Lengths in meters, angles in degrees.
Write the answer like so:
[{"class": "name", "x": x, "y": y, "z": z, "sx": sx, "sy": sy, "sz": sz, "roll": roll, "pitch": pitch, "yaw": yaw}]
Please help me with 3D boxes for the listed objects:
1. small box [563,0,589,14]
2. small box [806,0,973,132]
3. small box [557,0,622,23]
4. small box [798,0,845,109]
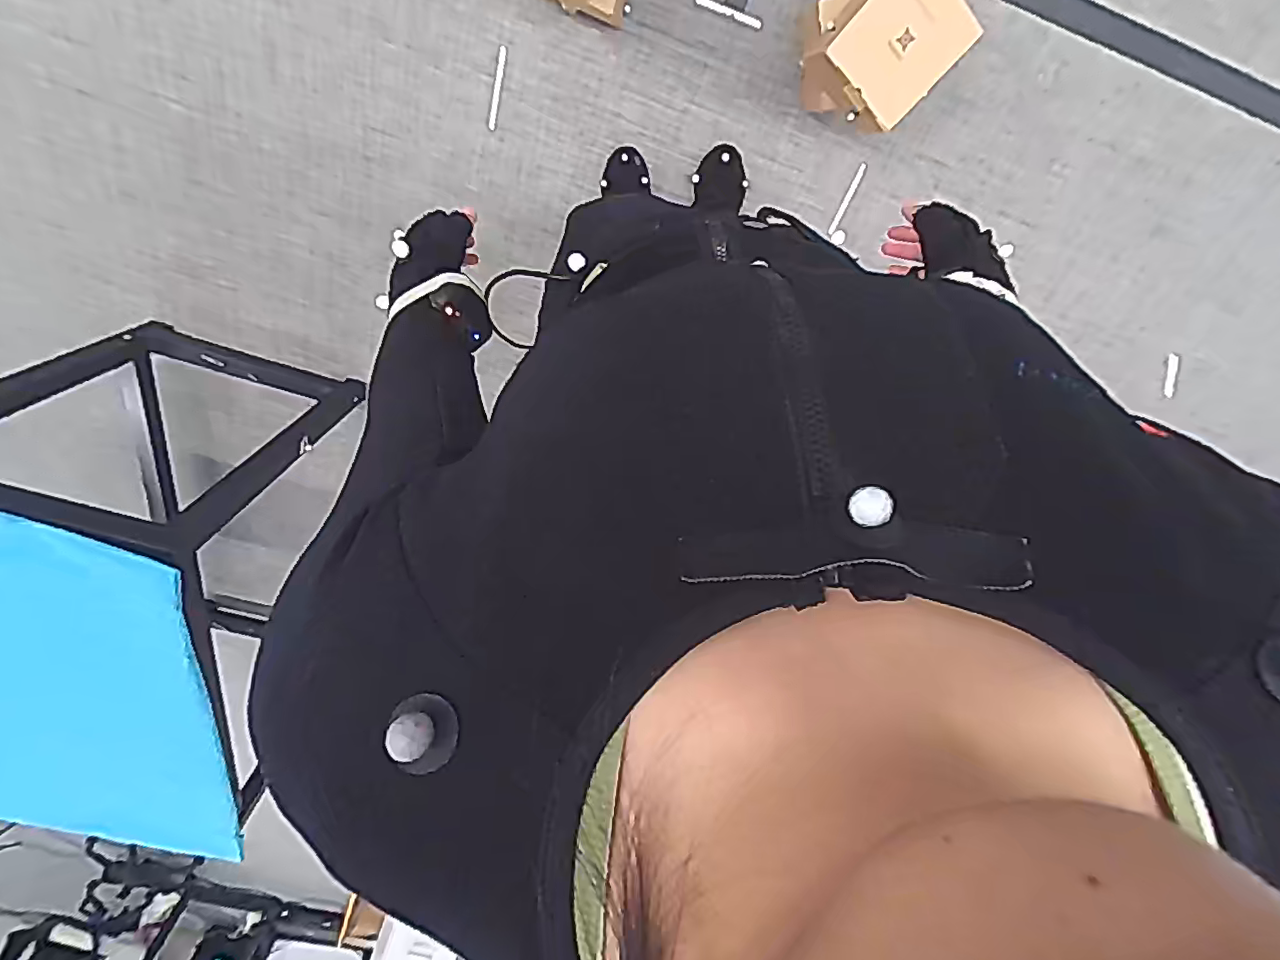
[{"class": "small box", "x": -0.106, "y": -0.869, "z": 0.818, "sx": 0.168, "sy": 0.176, "sz": 0.179, "roll": -29, "pitch": 117, "yaw": 20}, {"class": "small box", "x": 0.398, "y": -0.720, "z": 0.900, "sx": 0.168, "sy": 0.176, "sz": 0.179, "roll": 36, "pitch": 118, "yaw": -22}, {"class": "small box", "x": -0.103, "y": -0.953, "z": 0.963, "sx": 0.179, "sy": 0.176, "sz": 0.168, "roll": 19, "pitch": 122, "yaw": -9}, {"class": "small box", "x": 0.402, "y": -0.822, "z": 1.029, "sx": 0.179, "sy": 0.176, "sz": 0.168, "roll": -8, "pitch": 125, "yaw": 9}]
